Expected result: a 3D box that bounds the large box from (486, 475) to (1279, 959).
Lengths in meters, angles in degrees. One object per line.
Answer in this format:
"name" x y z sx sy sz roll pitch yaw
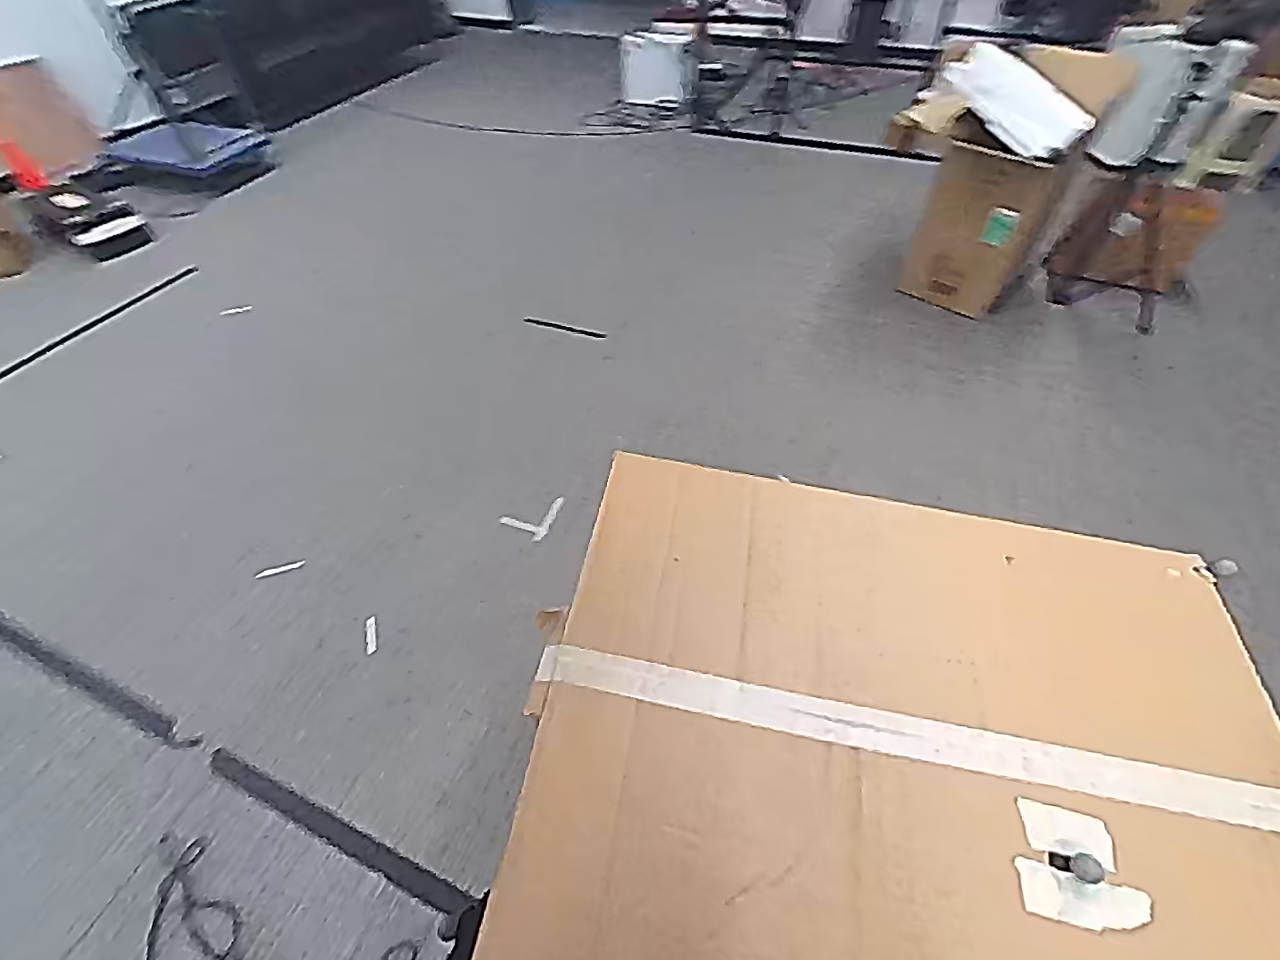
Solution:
"large box" 0.134 0.232 0.426 0.408 0.320 0.320 10 56 3
